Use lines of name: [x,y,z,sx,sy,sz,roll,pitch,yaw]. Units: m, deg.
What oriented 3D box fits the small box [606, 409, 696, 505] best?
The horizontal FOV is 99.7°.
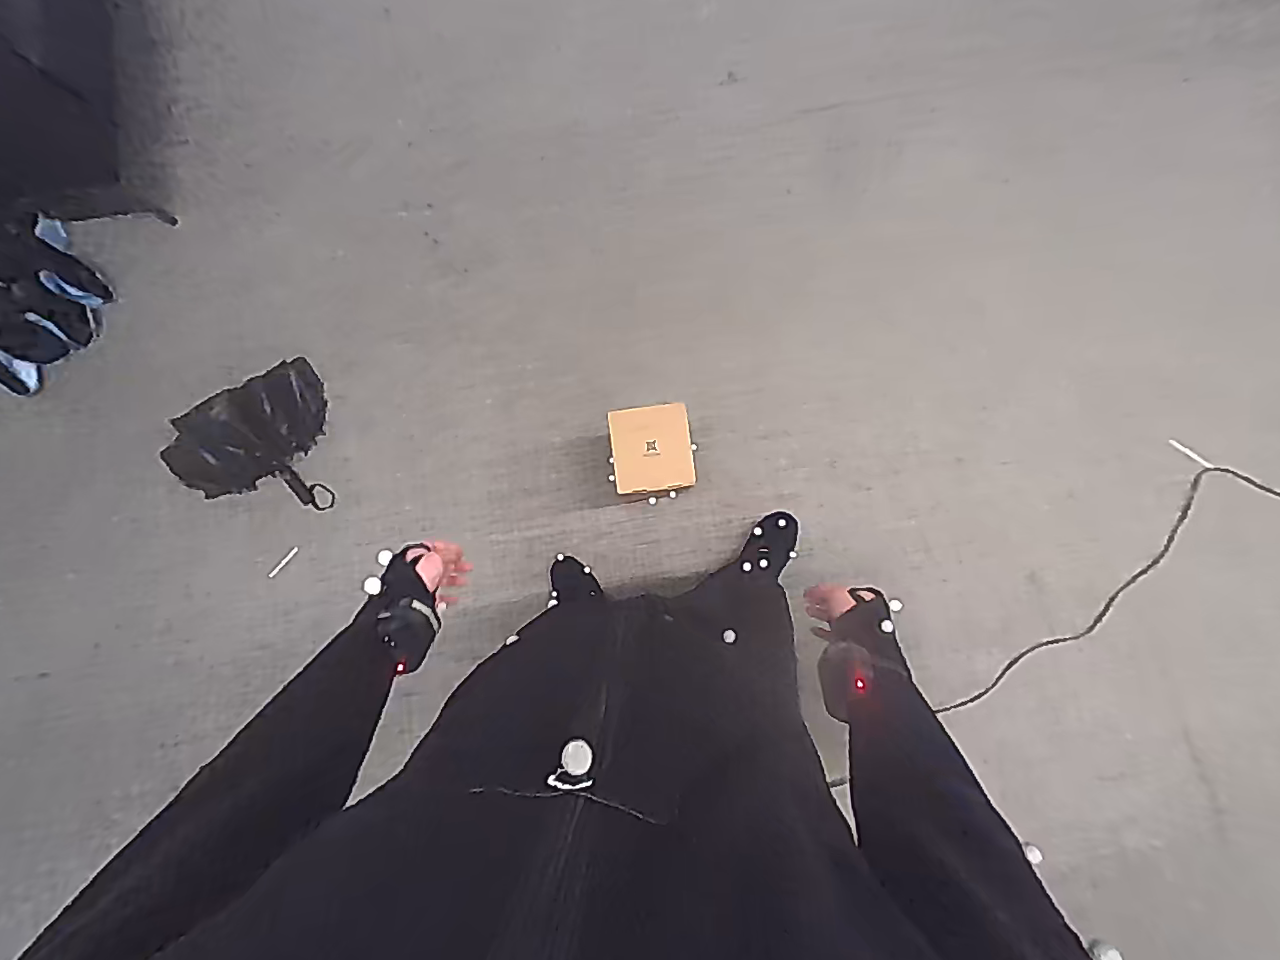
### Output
small box: [0.023,-0.042,1.167,0.168,0.176,0.179,-9,84,-1]
